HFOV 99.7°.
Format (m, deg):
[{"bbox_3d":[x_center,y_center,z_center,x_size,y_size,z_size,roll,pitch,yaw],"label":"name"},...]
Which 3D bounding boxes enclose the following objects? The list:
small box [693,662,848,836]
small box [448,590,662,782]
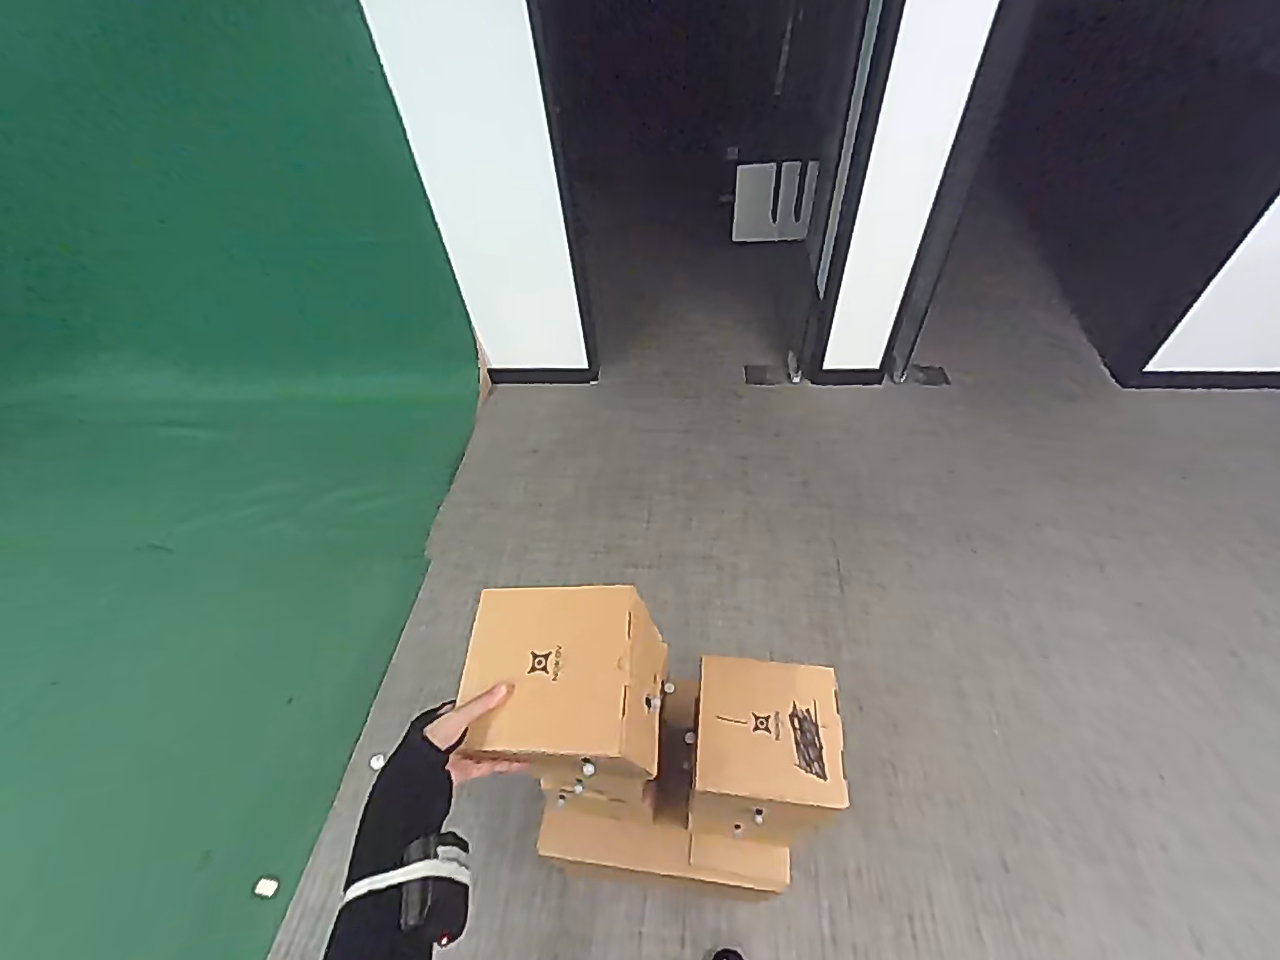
[{"bbox_3d":[0.165,0.365,0.728,0.179,0.176,0.168,2,49,9],"label":"small box"},{"bbox_3d":[-0.079,0.236,0.606,0.179,0.176,0.168,-6,55,12],"label":"small box"}]
